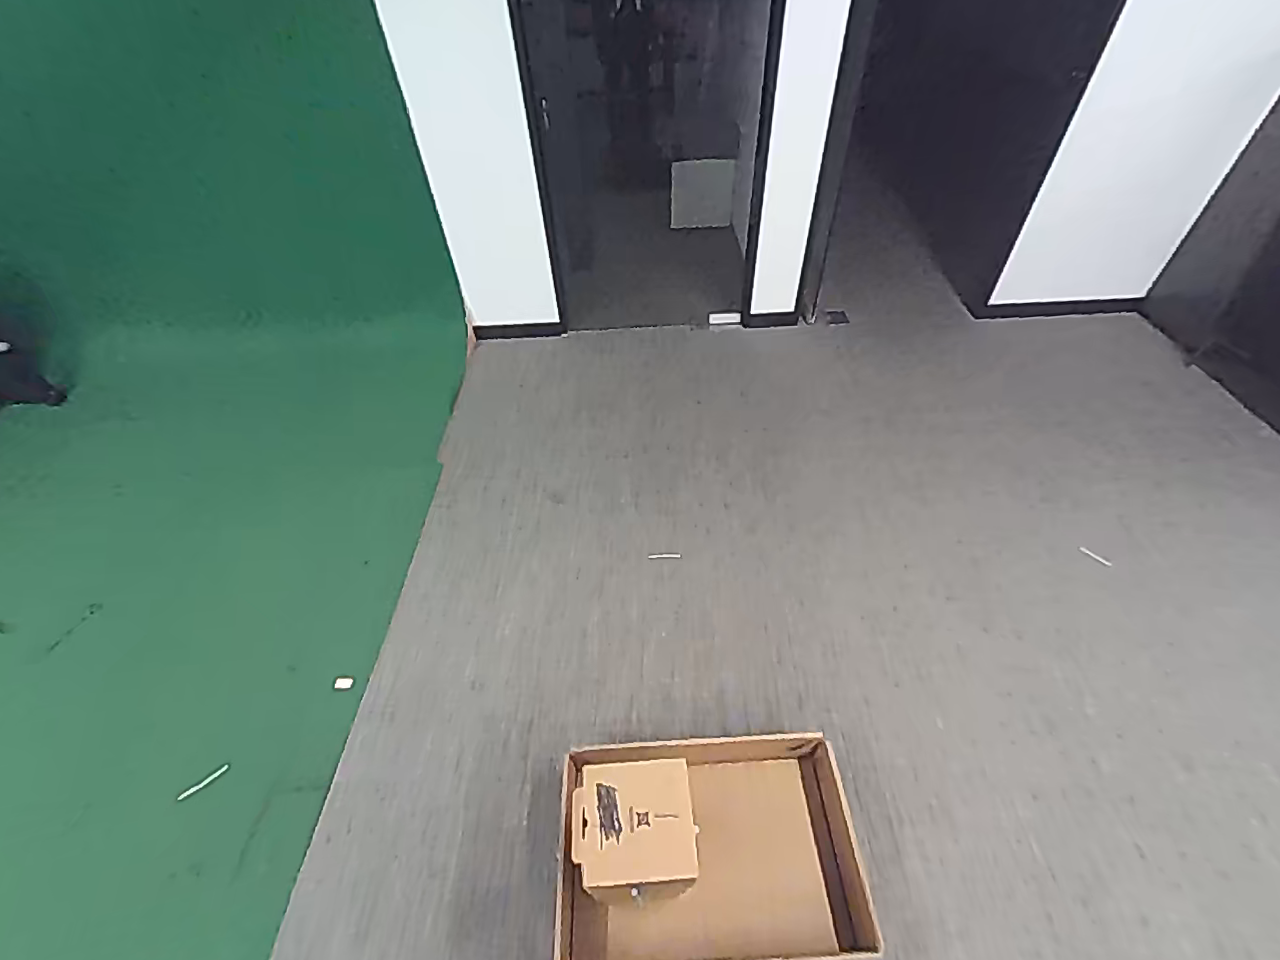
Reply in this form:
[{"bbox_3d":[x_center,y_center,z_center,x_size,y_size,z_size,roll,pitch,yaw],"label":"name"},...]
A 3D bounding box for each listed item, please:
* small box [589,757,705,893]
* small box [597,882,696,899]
[{"bbox_3d":[0.011,0.585,0.913,0.179,0.176,0.168,-4,49,-1],"label":"small box"},{"bbox_3d":[0.013,0.691,1.037,0.179,0.176,0.168,-4,49,-1],"label":"small box"}]
